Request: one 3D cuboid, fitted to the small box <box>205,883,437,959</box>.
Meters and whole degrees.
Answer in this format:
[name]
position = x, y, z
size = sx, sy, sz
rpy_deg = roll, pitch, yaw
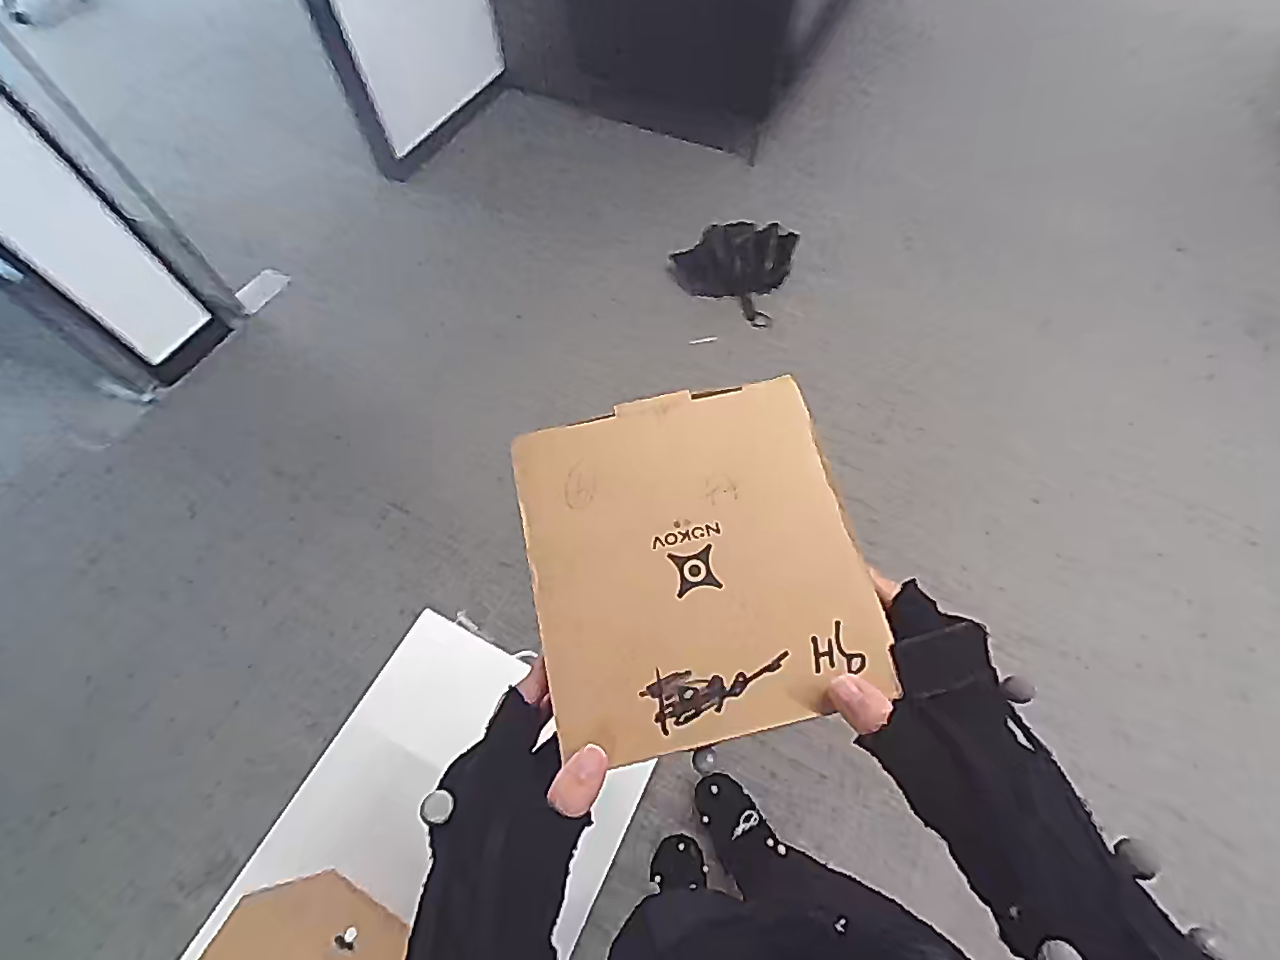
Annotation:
[small box]
position = -0.334, 0.534, 0.530
size = 0.179, 0.176, 0.168
rpy_deg = 24, 63, 15
